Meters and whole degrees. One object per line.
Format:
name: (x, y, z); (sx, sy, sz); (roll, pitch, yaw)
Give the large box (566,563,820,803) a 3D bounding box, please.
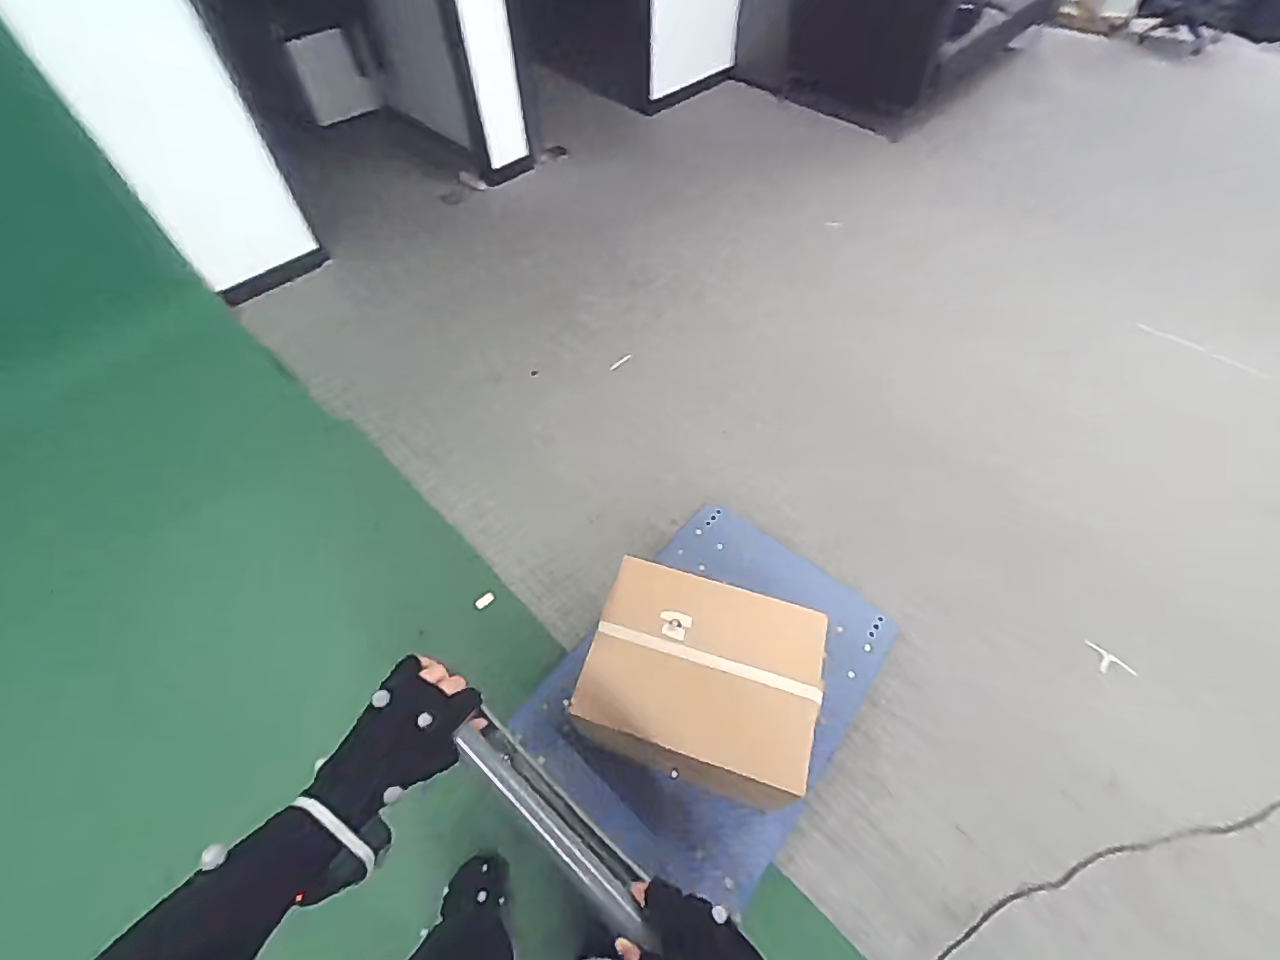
large box: (0.111, 0.413, 1.091); (0.408, 0.320, 0.320); (14, 56, 11)
